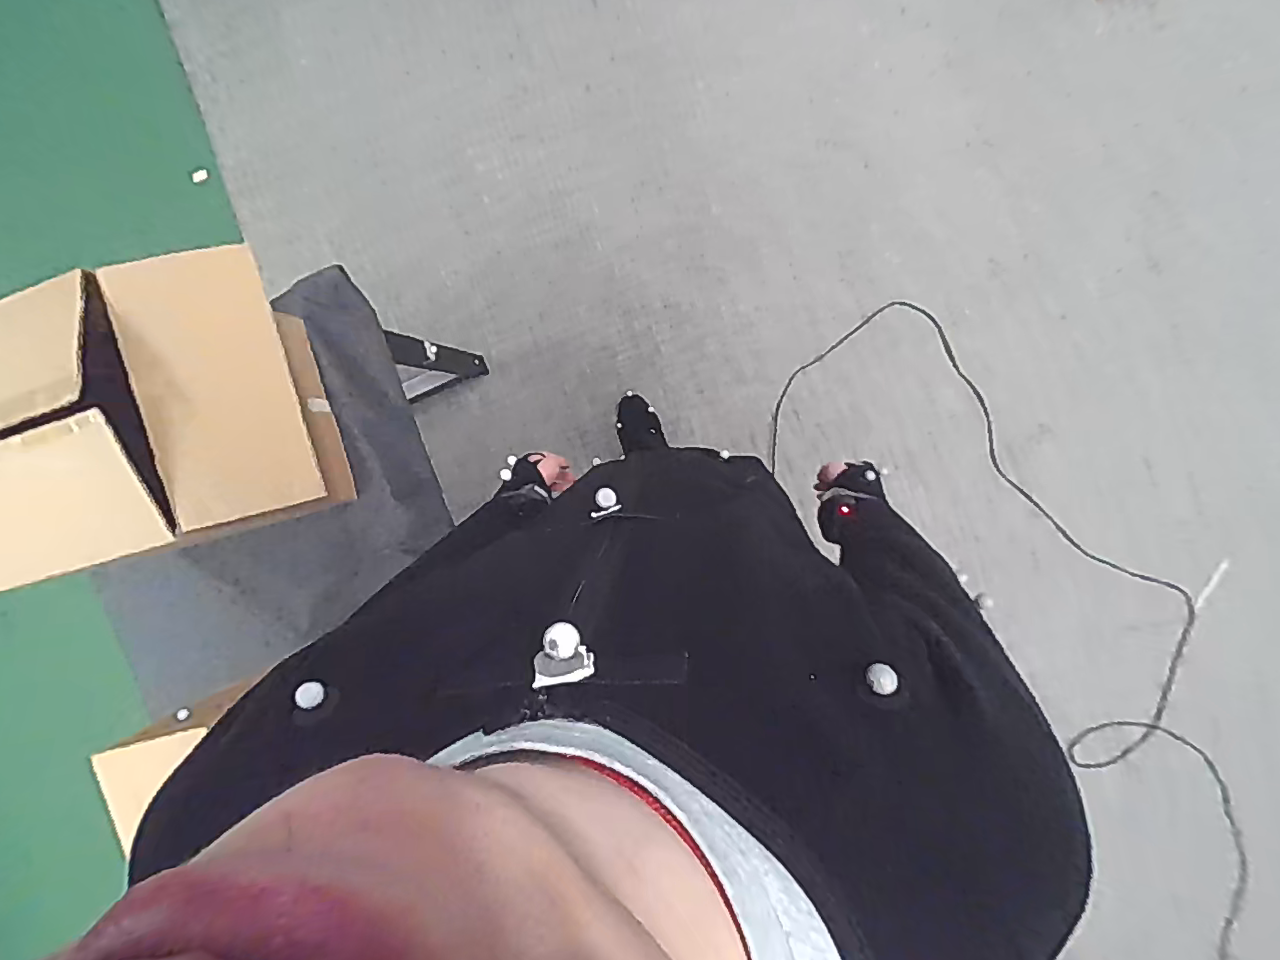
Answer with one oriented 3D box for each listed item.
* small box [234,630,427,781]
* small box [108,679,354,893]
[{"bbox_3d":[-0.479,0.360,0.860,0.179,0.176,0.168,-17,94,10],"label":"small box"},{"bbox_3d":[-0.507,0.382,0.702,0.179,0.176,0.168,-17,93,12],"label":"small box"}]
